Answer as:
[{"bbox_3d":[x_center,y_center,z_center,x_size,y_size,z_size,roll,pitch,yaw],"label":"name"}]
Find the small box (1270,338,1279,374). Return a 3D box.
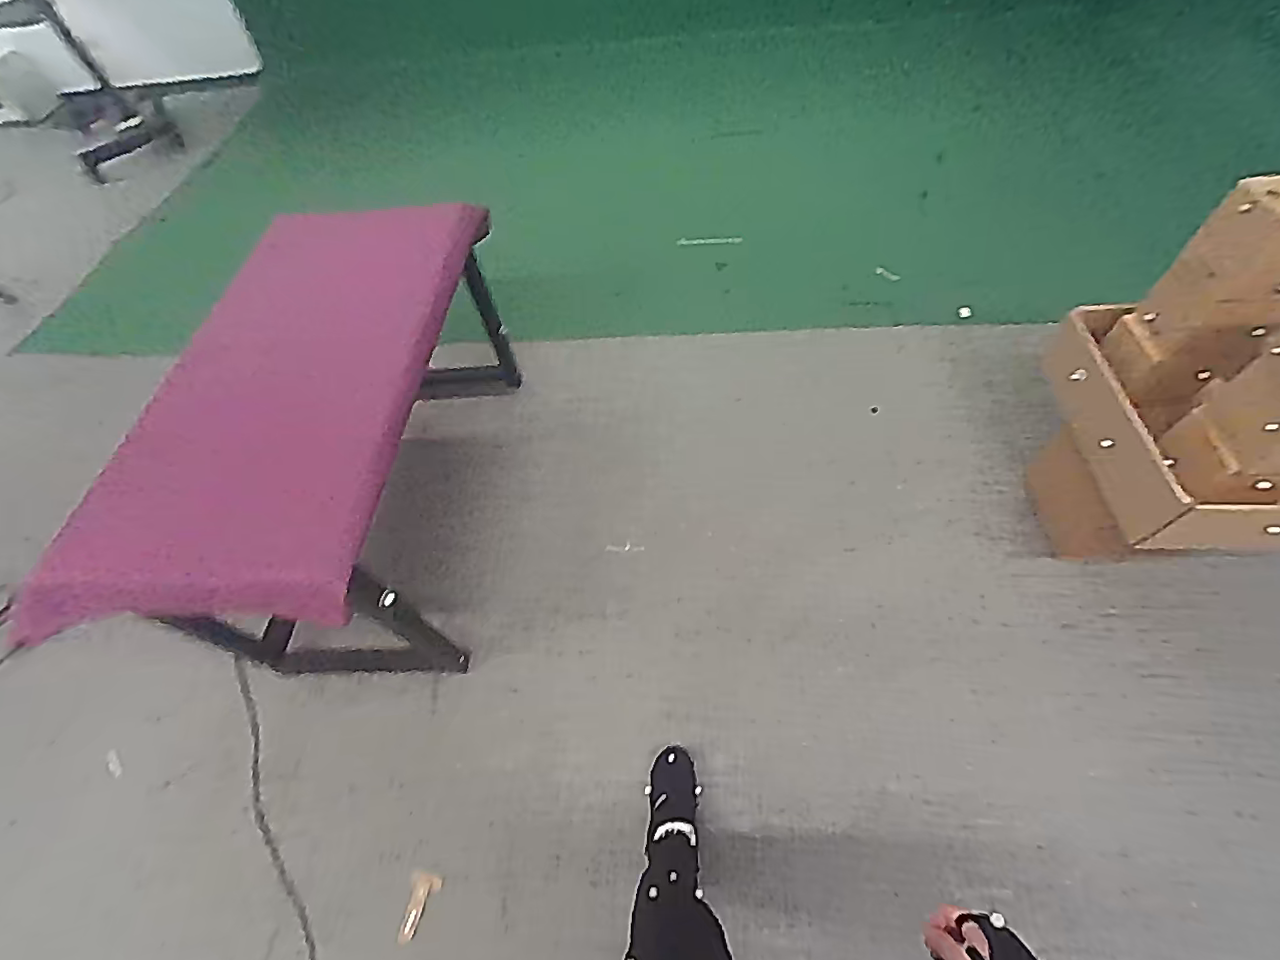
[{"bbox_3d":[1.246,-0.219,0.910,0.179,0.176,0.168,2,57,7],"label":"small box"}]

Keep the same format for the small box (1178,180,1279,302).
[{"bbox_3d":[1.265,-0.474,1.083,0.179,0.176,0.168,0,55,4],"label":"small box"}]

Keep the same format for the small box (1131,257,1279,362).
[{"bbox_3d":[1.281,-0.382,1.218,0.179,0.176,0.168,2,56,8],"label":"small box"}]
